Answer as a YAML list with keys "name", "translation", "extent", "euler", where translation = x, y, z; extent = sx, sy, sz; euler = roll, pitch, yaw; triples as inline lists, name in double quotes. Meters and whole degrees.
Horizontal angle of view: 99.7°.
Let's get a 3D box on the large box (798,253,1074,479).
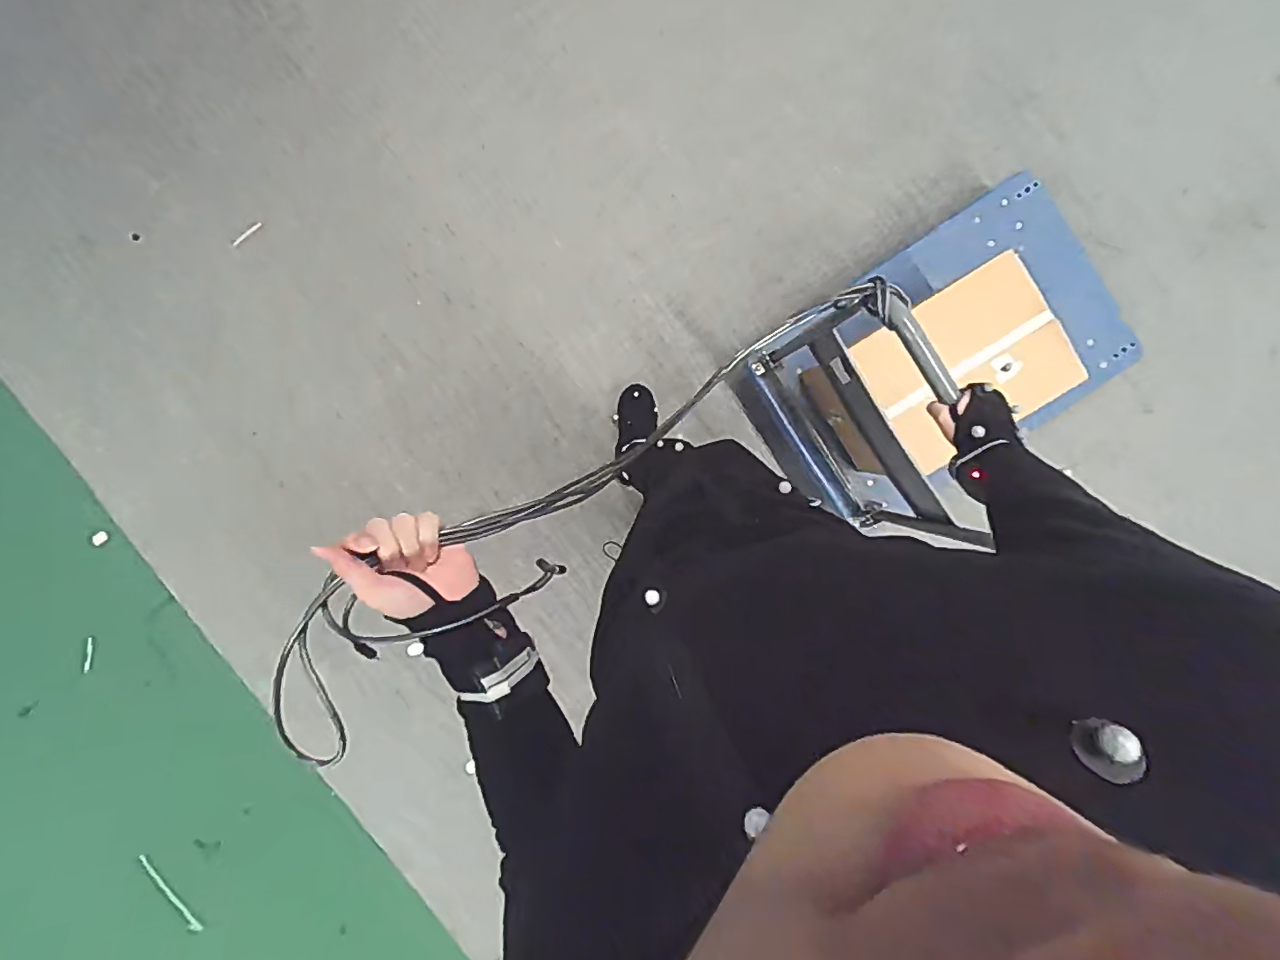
- name: "large box"
  translation: [0.654, -0.237, 1.267]
  extent: [0.408, 0.320, 0.320]
  euler: [-32, 93, 2]
